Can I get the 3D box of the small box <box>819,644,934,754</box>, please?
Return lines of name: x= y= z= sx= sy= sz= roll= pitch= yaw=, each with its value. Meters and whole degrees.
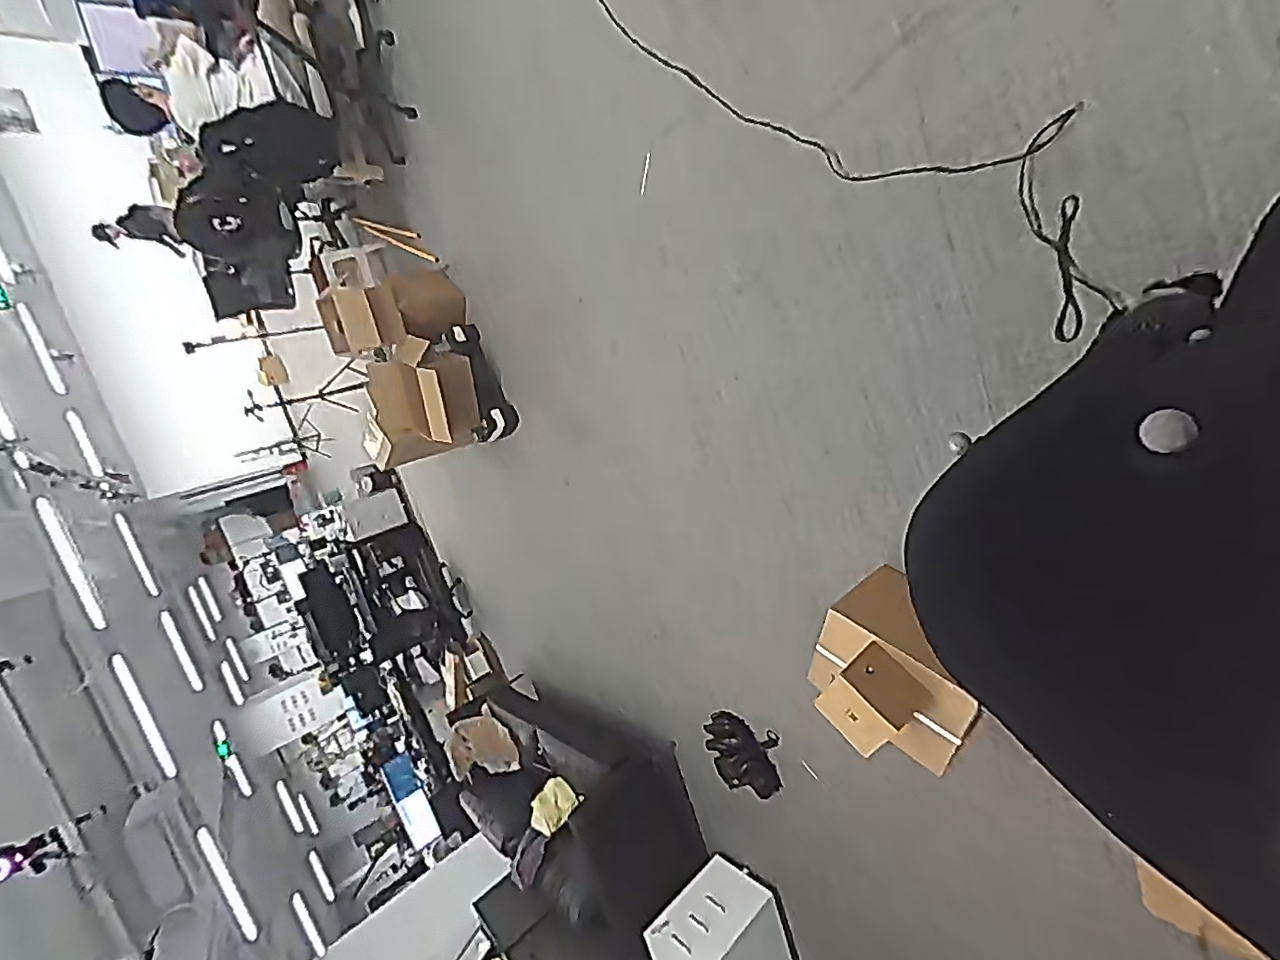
small box: x=0.602 y=0.547 z=1.379 sx=0.179 sy=0.176 sz=0.168 roll=43 pitch=139 yaw=29
